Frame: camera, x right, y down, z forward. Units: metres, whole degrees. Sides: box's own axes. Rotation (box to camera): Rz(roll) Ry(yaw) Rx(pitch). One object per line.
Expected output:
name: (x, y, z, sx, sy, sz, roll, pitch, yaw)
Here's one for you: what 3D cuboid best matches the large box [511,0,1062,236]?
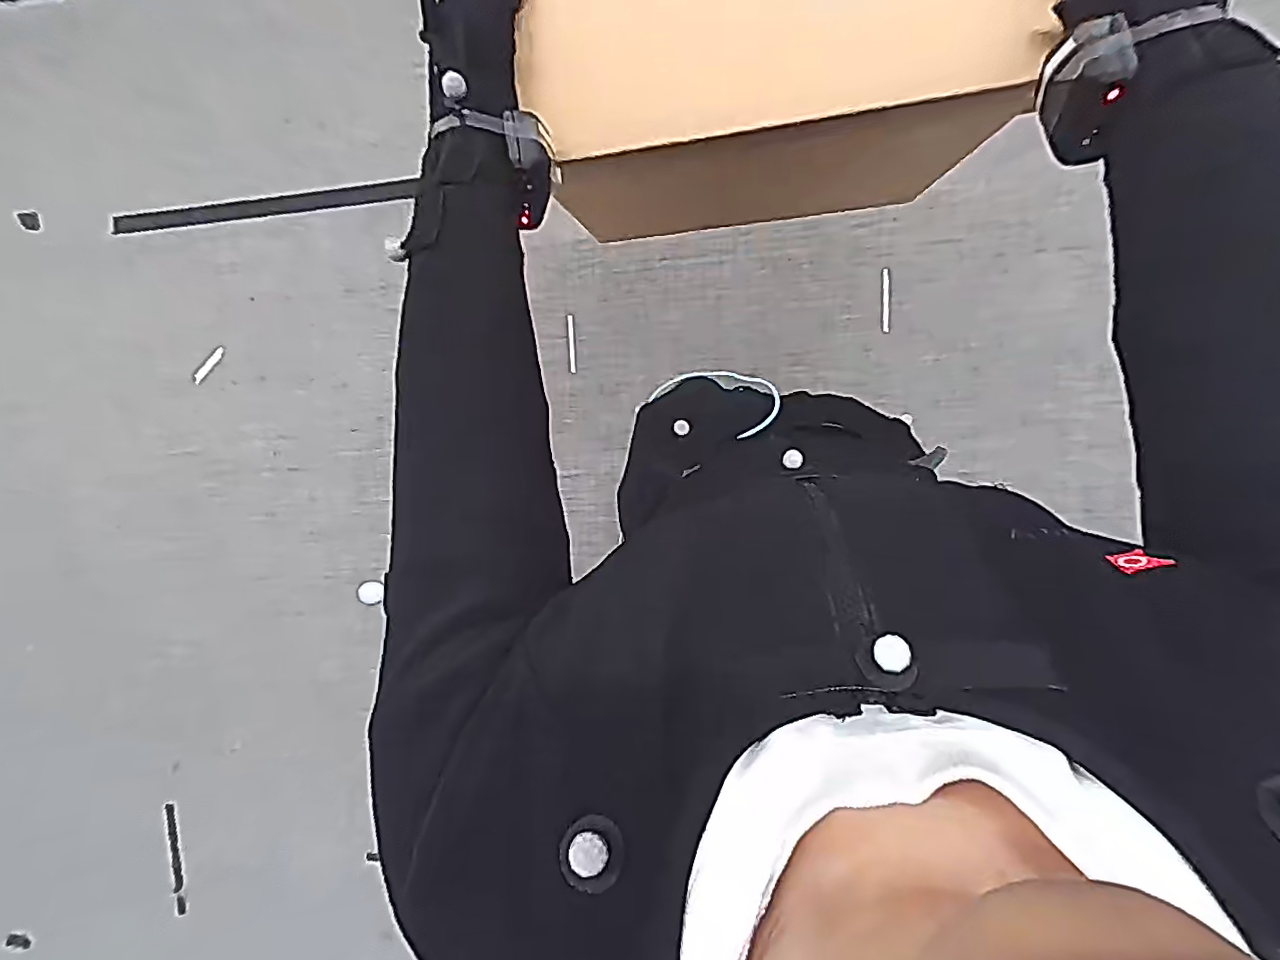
large box: (0.105, -0.463, 0.531, 0.408, 0.320, 0.320, -5, 102, 8)
